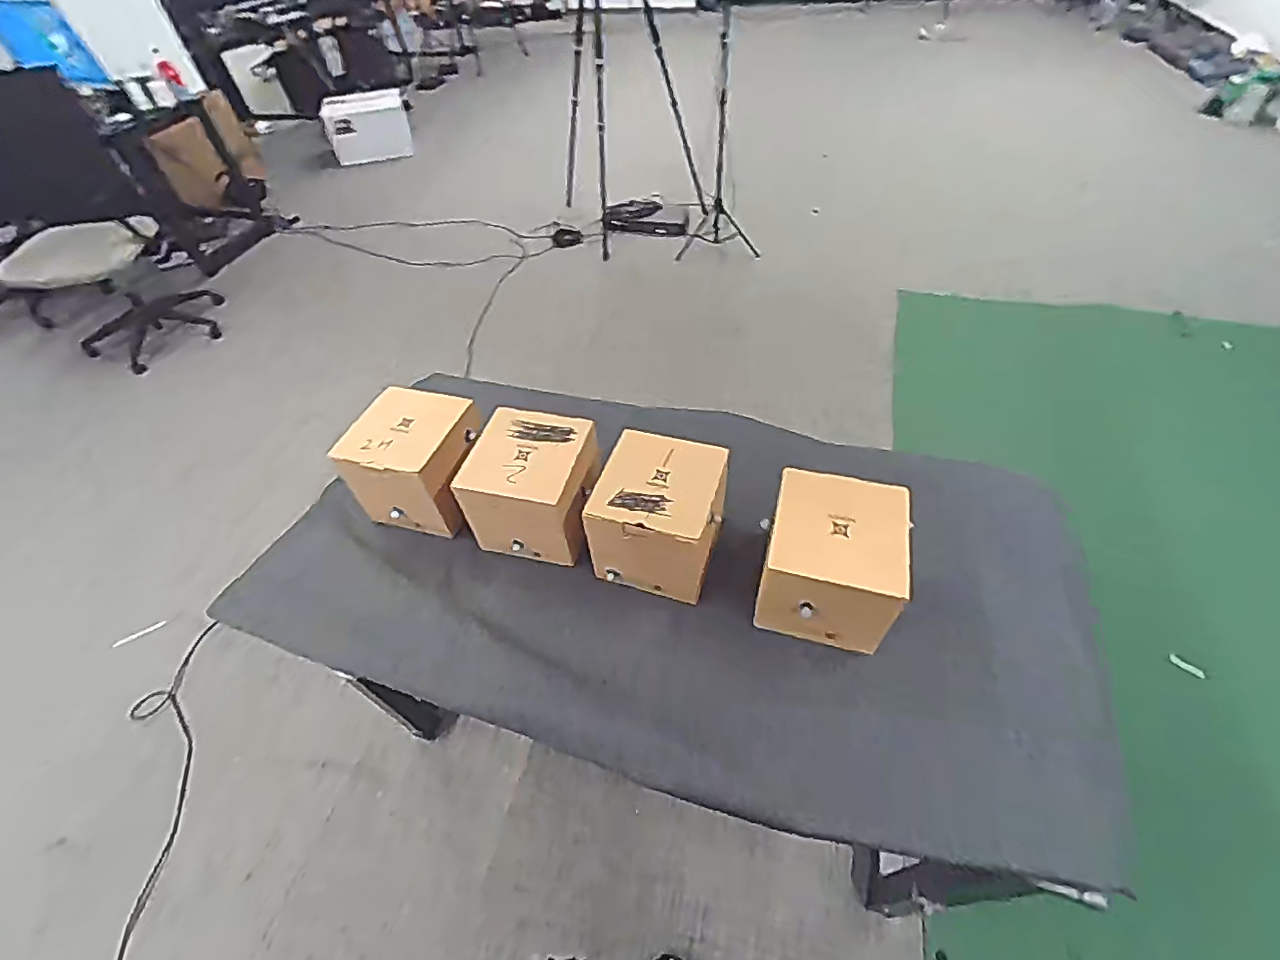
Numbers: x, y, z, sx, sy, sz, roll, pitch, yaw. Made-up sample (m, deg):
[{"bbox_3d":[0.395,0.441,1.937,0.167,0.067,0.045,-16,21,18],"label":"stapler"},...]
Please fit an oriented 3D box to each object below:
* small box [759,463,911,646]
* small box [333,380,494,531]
[{"bbox_3d":[0.265,0.106,0.752,0.168,0.176,0.179,11,51,14],"label":"small box"},{"bbox_3d":[-0.369,-0.042,0.924,0.168,0.176,0.179,11,52,13],"label":"small box"}]
